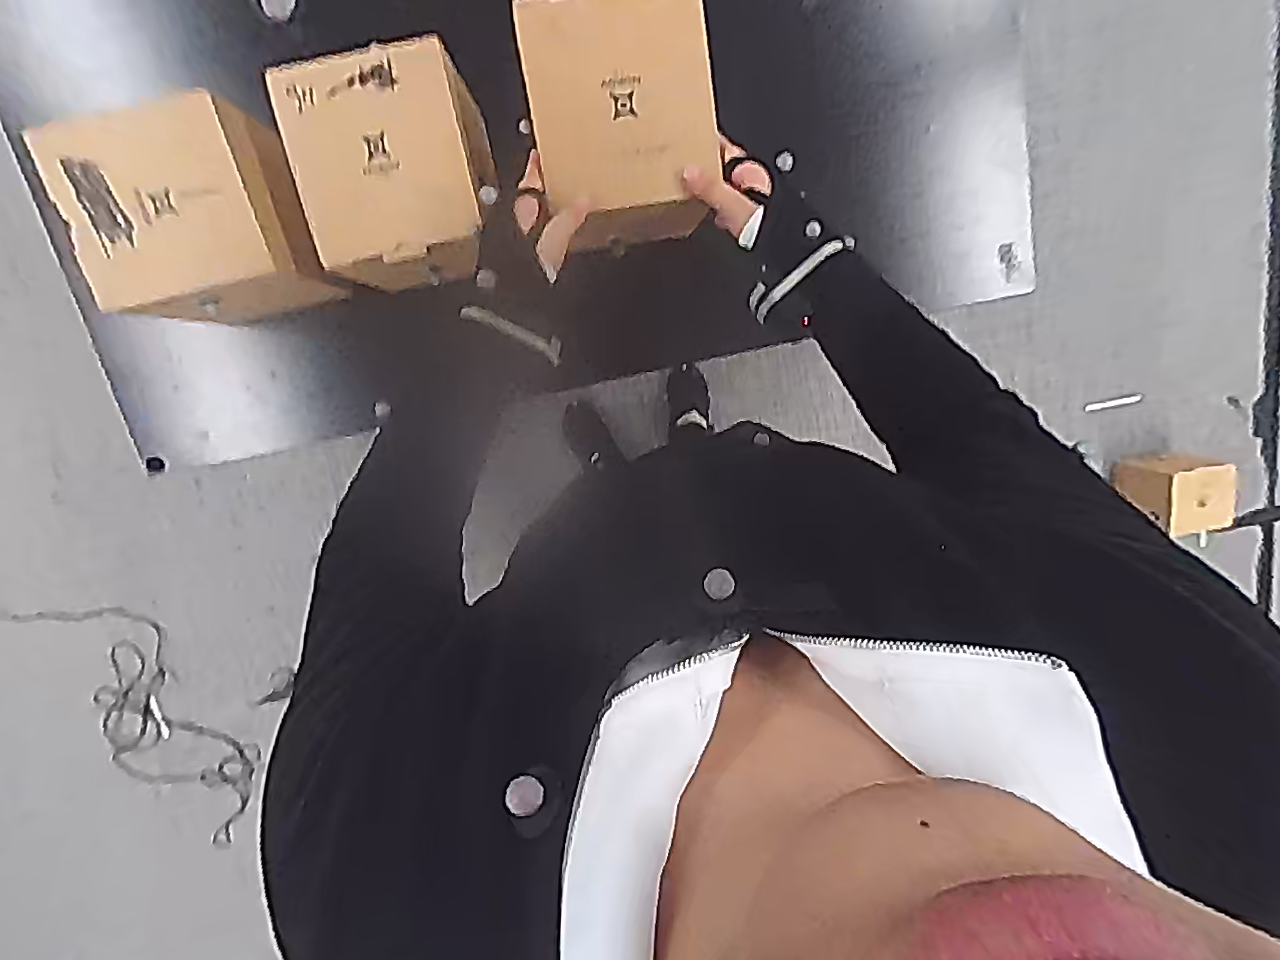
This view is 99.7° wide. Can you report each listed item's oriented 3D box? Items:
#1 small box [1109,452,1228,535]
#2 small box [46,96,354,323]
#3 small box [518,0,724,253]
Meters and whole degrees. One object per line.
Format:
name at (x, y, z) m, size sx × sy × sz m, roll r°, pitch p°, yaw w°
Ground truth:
small box at (1.436, 0.033, 1.481) m, size 0.168 × 0.176 × 0.179 m, roll -10°, pitch 102°, yaw 0°
small box at (-0.461, -0.279, 0.600) m, size 0.179 × 0.176 × 0.168 m, roll -14°, pitch 102°, yaw 0°
small box at (-0.023, -0.353, 0.559) m, size 0.168 × 0.176 × 0.179 m, roll -10°, pitch 103°, yaw -4°
